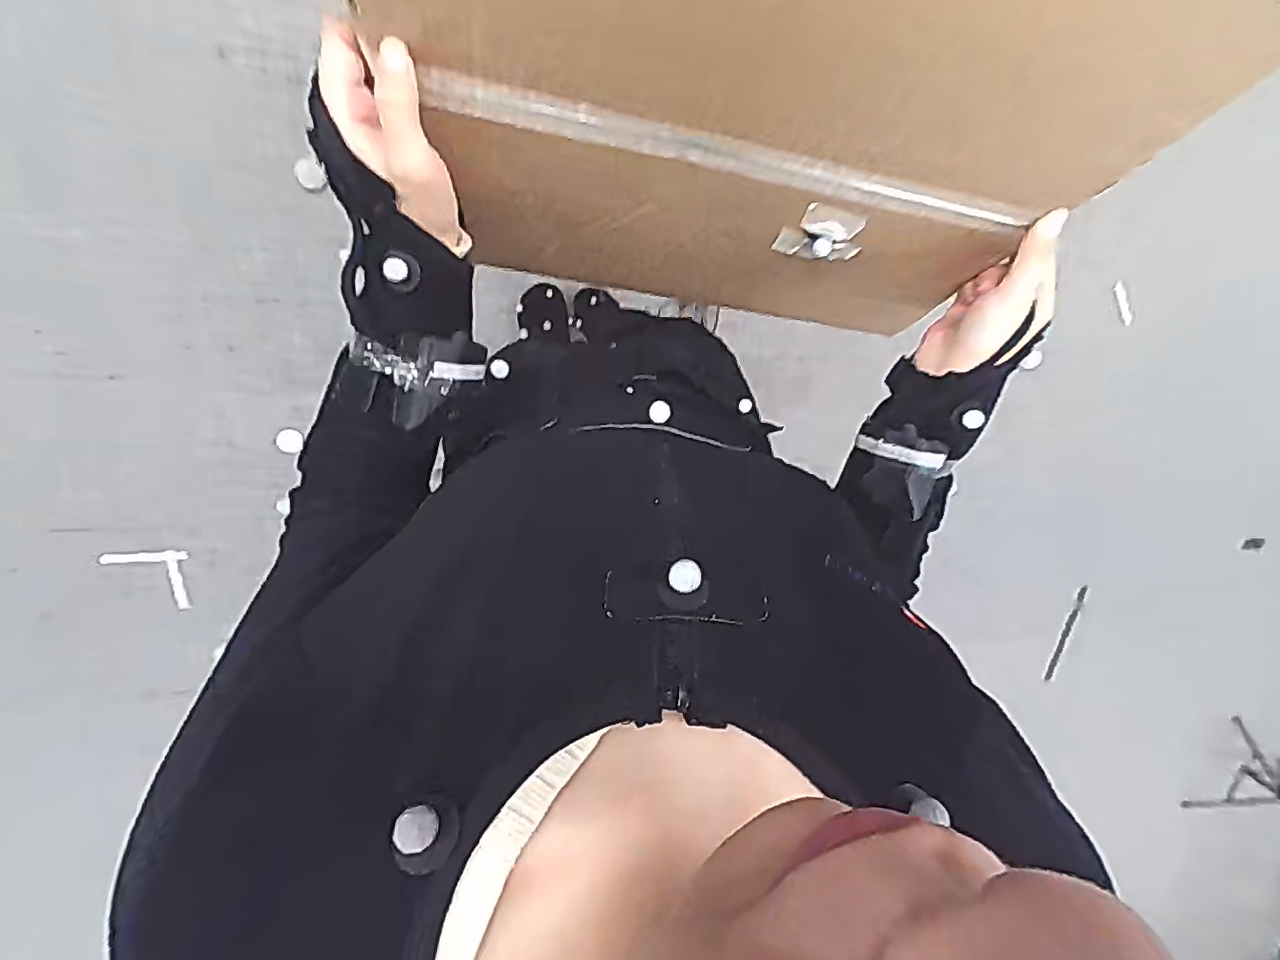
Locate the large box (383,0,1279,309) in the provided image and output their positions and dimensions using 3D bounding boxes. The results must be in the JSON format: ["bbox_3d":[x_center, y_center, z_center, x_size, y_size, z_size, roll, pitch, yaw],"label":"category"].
[{"bbox_3d":[0.079,-0.340,0.321,0.408,0.320,0.320,4,78,-12],"label":"large box"}]
